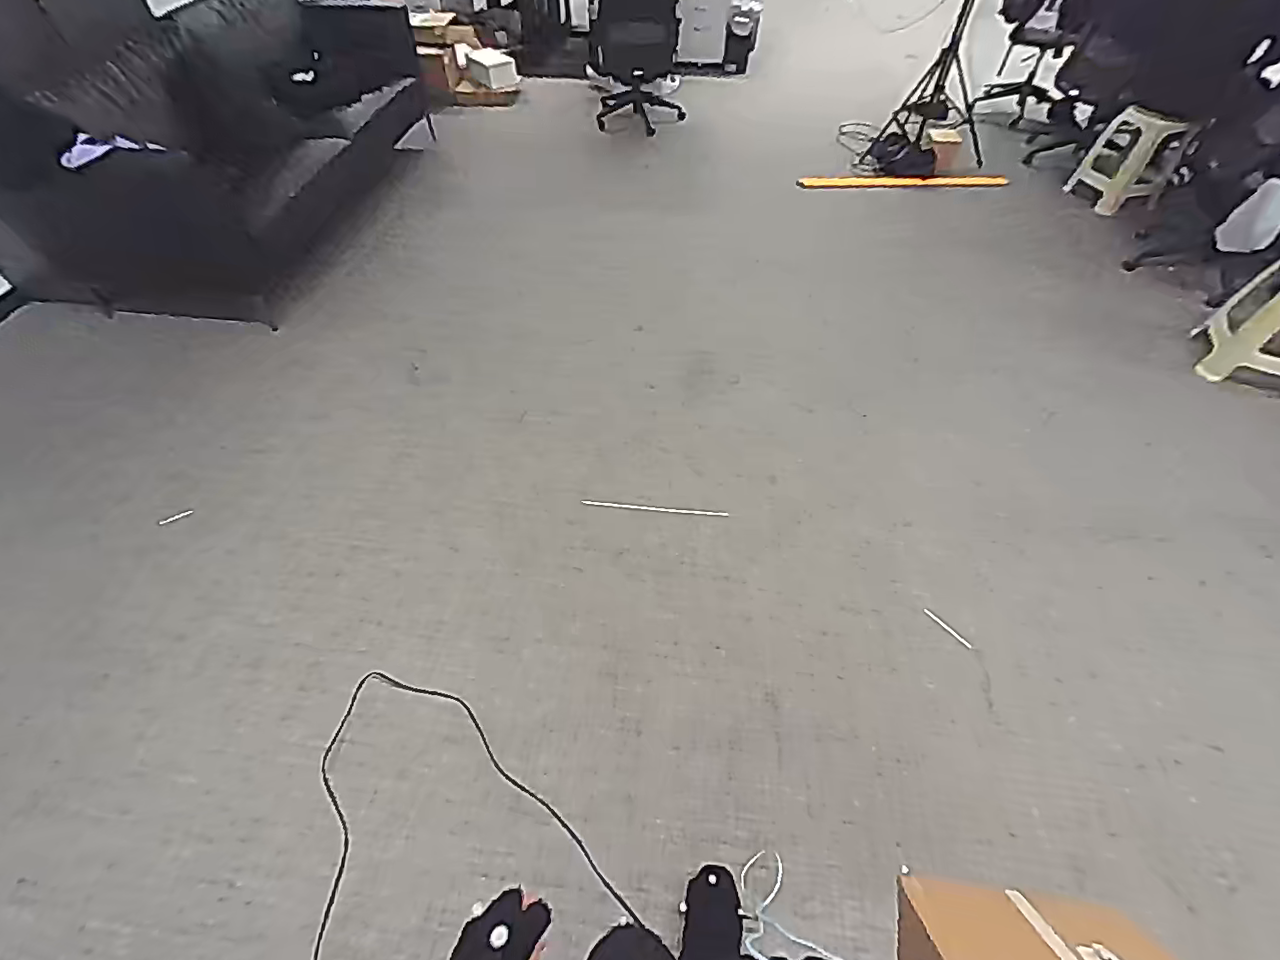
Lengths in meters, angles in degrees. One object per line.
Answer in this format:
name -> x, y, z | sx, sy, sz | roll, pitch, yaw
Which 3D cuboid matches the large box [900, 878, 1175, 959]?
large box -> 0.519, 0.749, 0.604 | 0.320, 0.408, 0.320 | 4, 85, 8
